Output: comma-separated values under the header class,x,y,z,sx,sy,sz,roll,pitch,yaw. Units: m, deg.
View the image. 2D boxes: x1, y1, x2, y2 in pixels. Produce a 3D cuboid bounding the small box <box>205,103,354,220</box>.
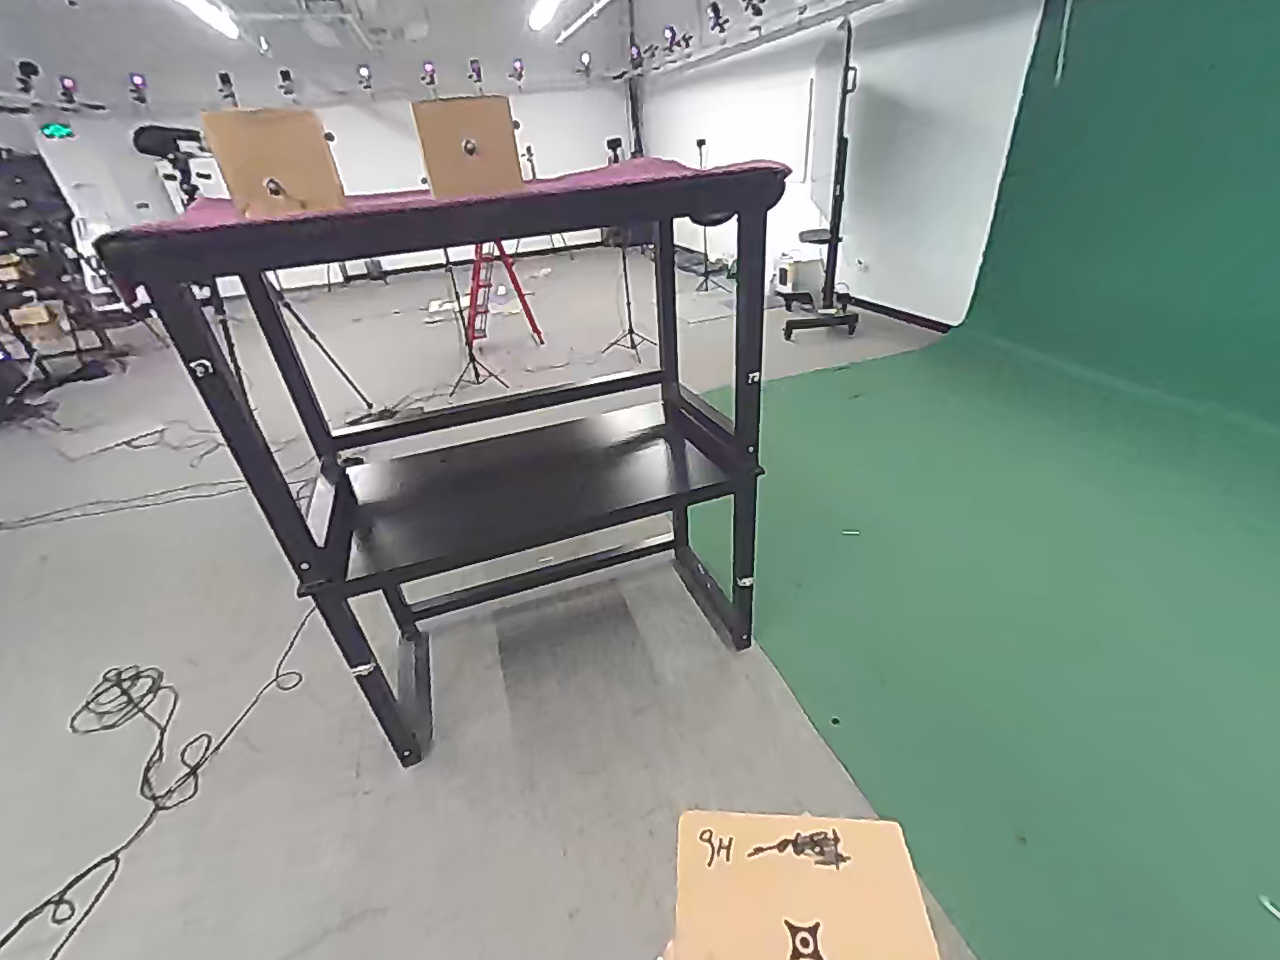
class,x,y,z,sx,sy,sz,roll,pitch,yaw
small box,-0.635,-0.570,0.979,0.168,0.176,0.179,-15,32,-18
